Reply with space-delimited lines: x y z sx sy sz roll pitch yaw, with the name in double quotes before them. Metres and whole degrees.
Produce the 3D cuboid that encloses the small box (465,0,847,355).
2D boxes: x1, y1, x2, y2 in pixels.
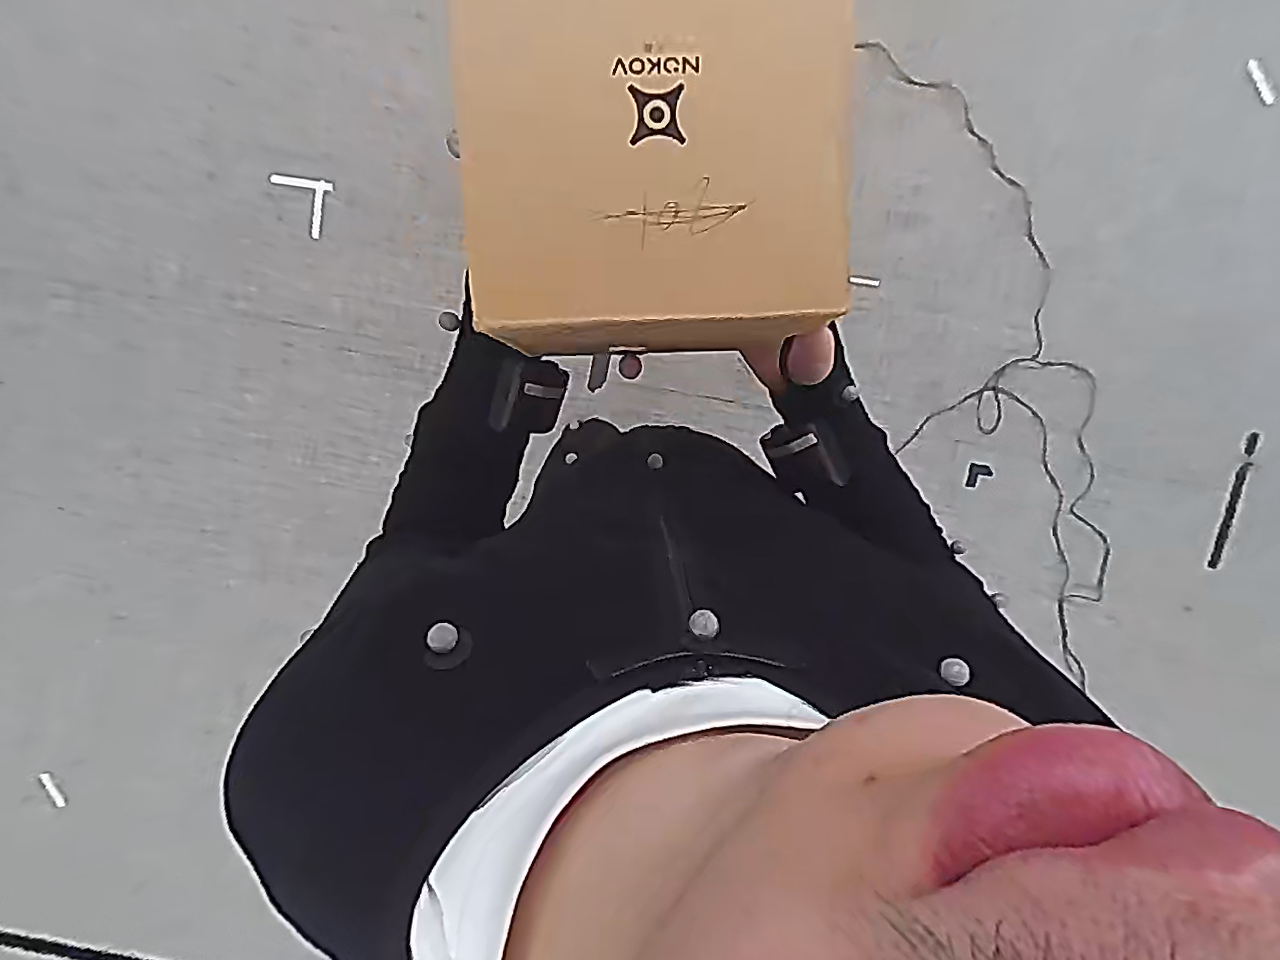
"small box" 0.005 -0.172 0.314 0.168 0.176 0.179 -3 99 -2
